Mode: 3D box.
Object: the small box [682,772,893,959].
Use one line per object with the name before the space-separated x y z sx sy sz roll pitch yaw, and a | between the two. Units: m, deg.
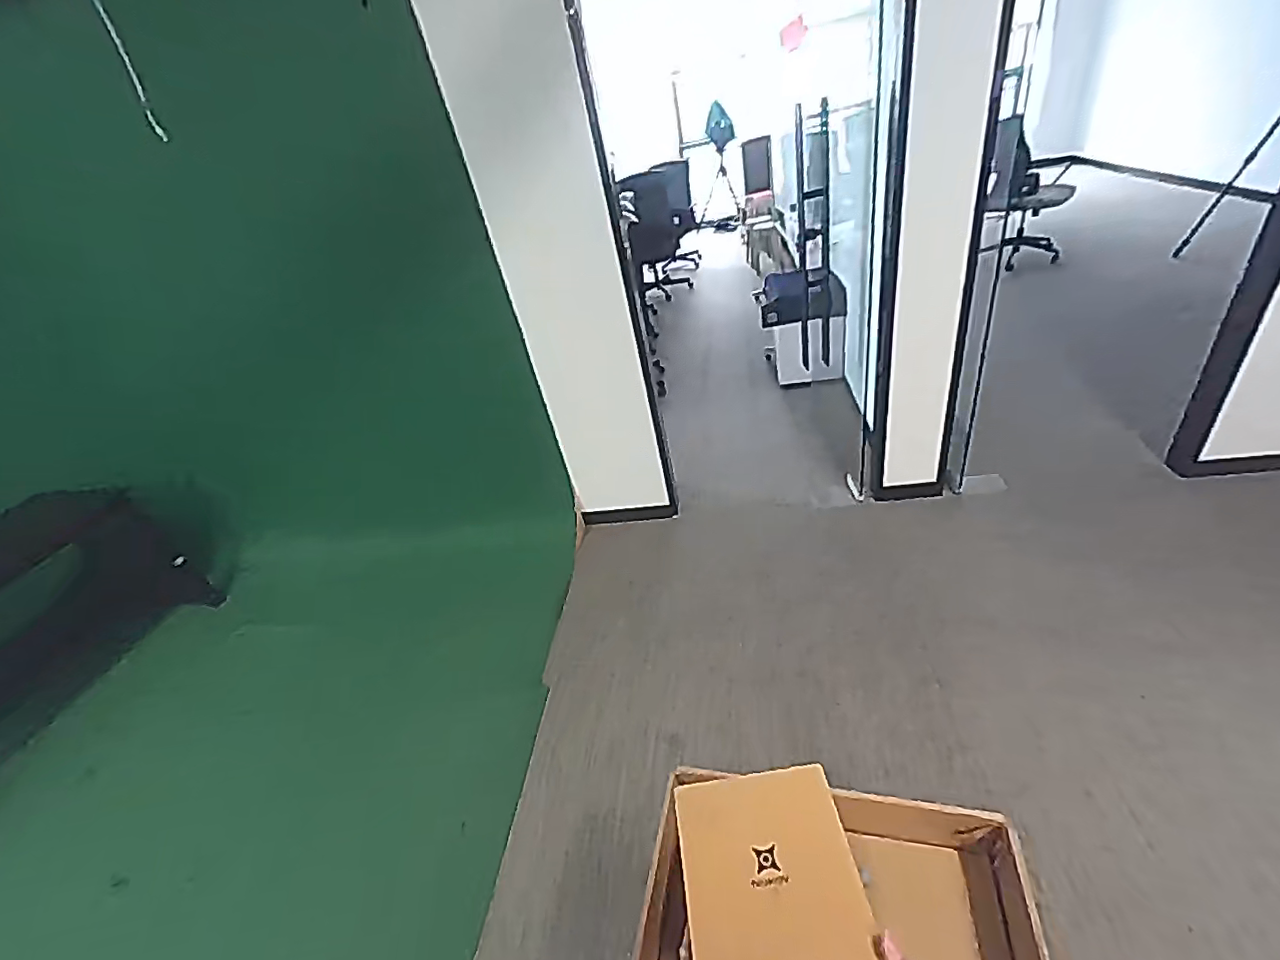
small box | 0.140 0.442 0.564 0.168 0.176 0.179 -9 36 1
